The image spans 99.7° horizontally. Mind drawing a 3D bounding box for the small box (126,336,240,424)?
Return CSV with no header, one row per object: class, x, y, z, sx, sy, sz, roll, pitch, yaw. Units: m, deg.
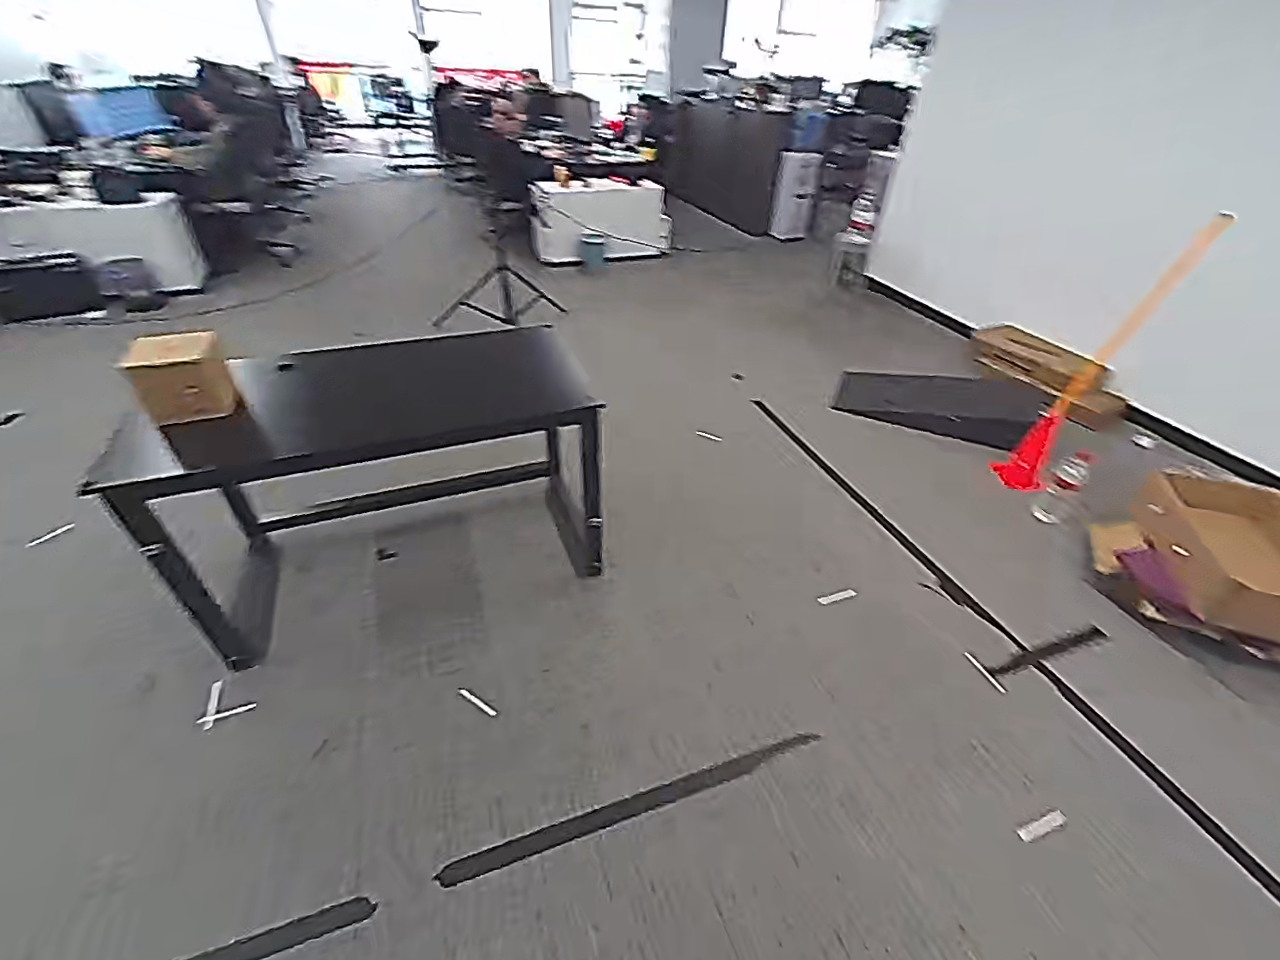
small box,-1.182,-0.257,1.417,0.168,0.176,0.179,-12,40,-20
